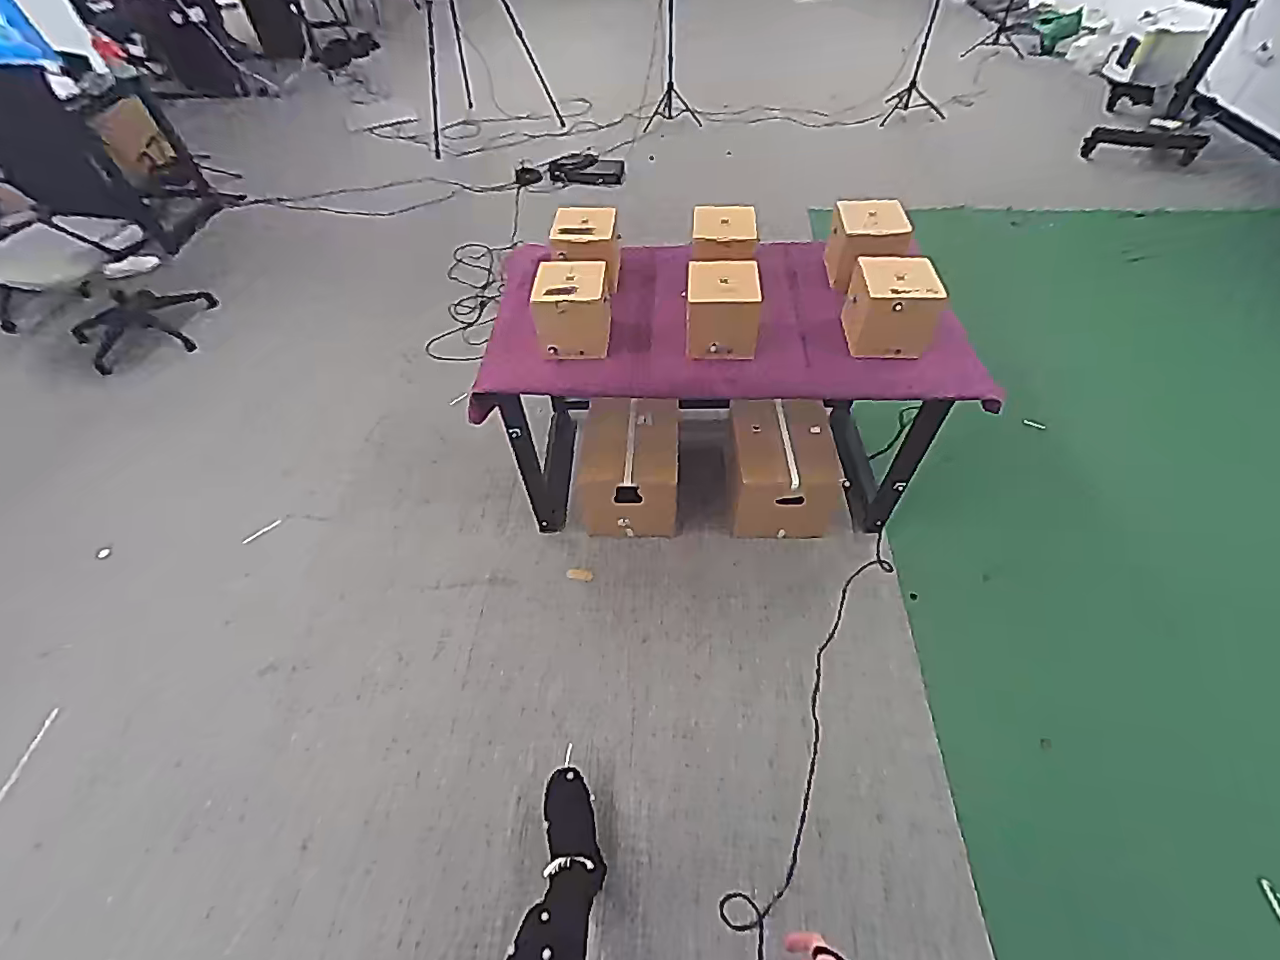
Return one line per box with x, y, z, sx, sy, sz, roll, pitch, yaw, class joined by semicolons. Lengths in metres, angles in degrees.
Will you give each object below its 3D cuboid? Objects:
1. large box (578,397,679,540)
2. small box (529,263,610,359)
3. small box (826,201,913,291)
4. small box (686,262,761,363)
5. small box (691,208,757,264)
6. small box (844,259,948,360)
-0.023;-0.039;1.878;0.320;0.320;0.408;1;51;3;large box
-0.165;-0.413;1.334;0.168;0.176;0.179;0;50;3;small box
0.611;-0.632;1.465;0.168;0.176;0.179;1;53;6;small box
0.197;-0.407;1.313;0.168;0.176;0.179;1;51;5;small box
0.225;-0.621;1.483;0.168;0.176;0.179;2;53;4;small box
0.597;-0.407;1.288;0.168;0.176;0.179;1;49;6;small box
